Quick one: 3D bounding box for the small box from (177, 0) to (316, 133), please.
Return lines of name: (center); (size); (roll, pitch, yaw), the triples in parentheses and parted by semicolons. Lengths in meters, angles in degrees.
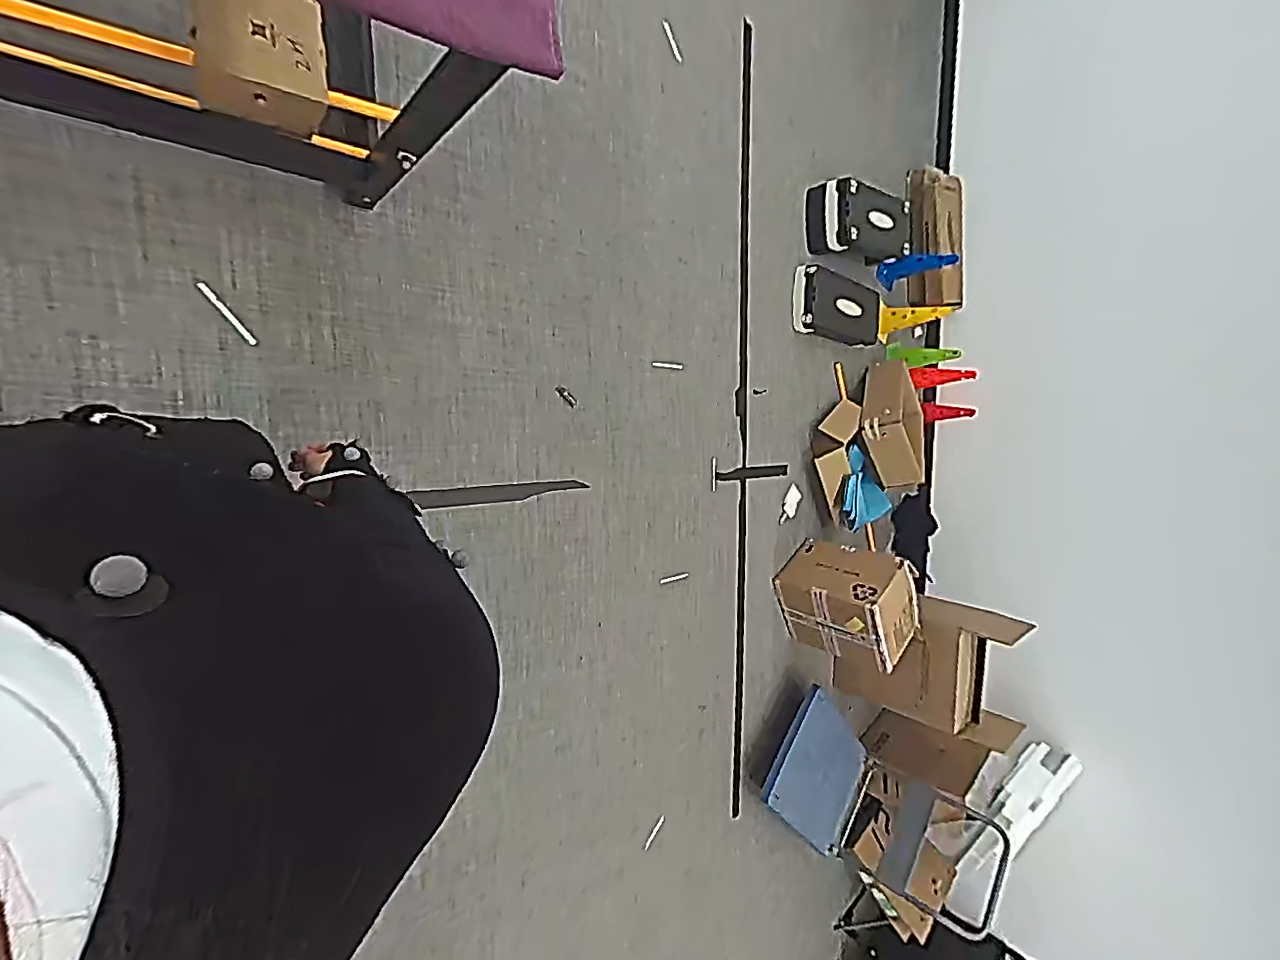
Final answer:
small box: (-0.683, -0.739, 0.937); (0.179, 0.176, 0.168); (-7, 101, -42)
